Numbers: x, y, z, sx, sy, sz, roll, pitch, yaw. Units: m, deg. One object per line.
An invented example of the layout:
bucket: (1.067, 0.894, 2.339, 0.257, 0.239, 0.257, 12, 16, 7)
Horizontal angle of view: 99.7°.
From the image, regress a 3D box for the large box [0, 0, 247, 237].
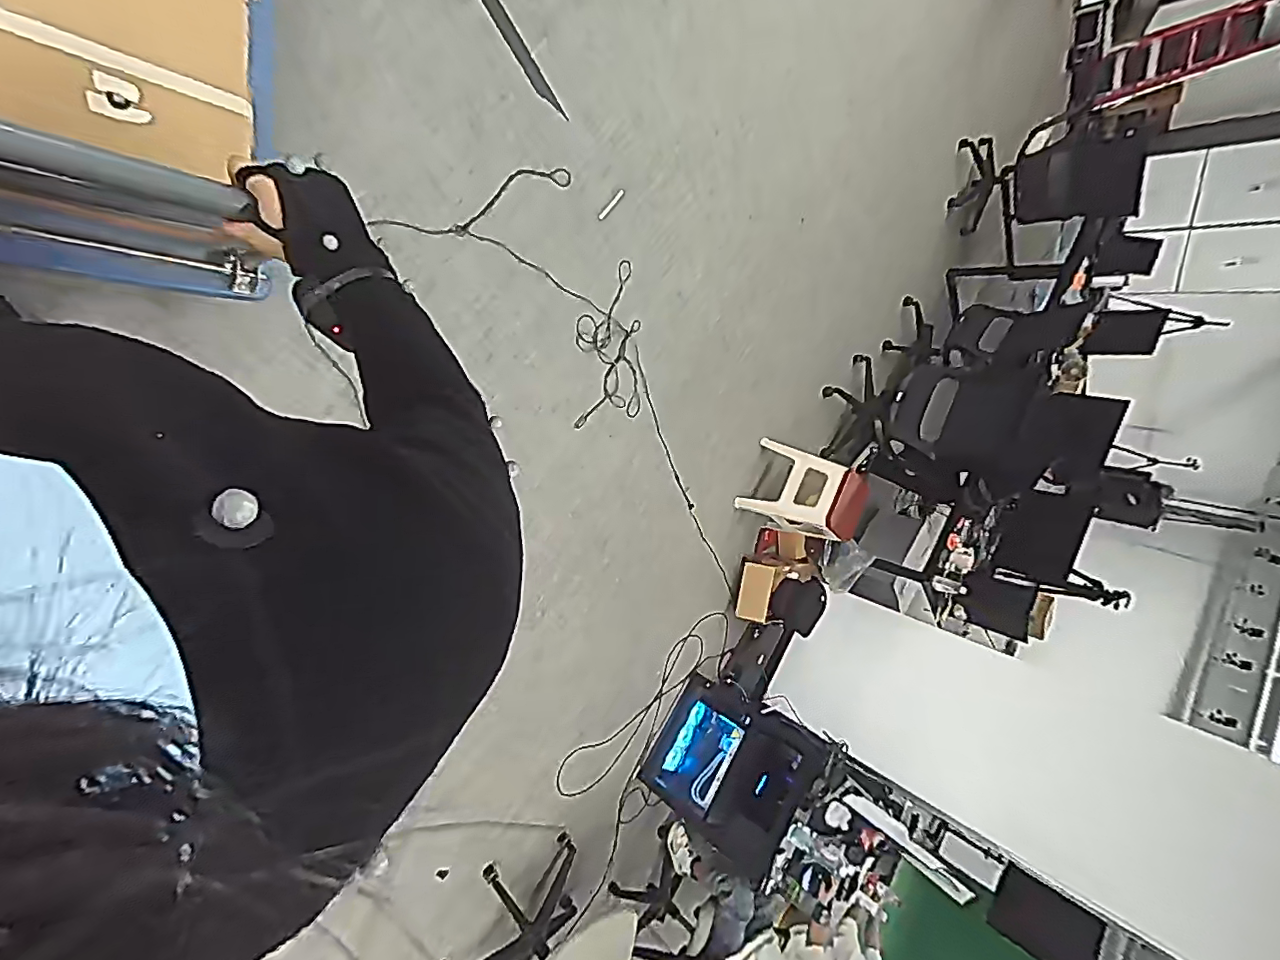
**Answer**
large box: (-0.807, -0.553, 0.726, 0.408, 0.320, 0.320, -3, 105, -46)
